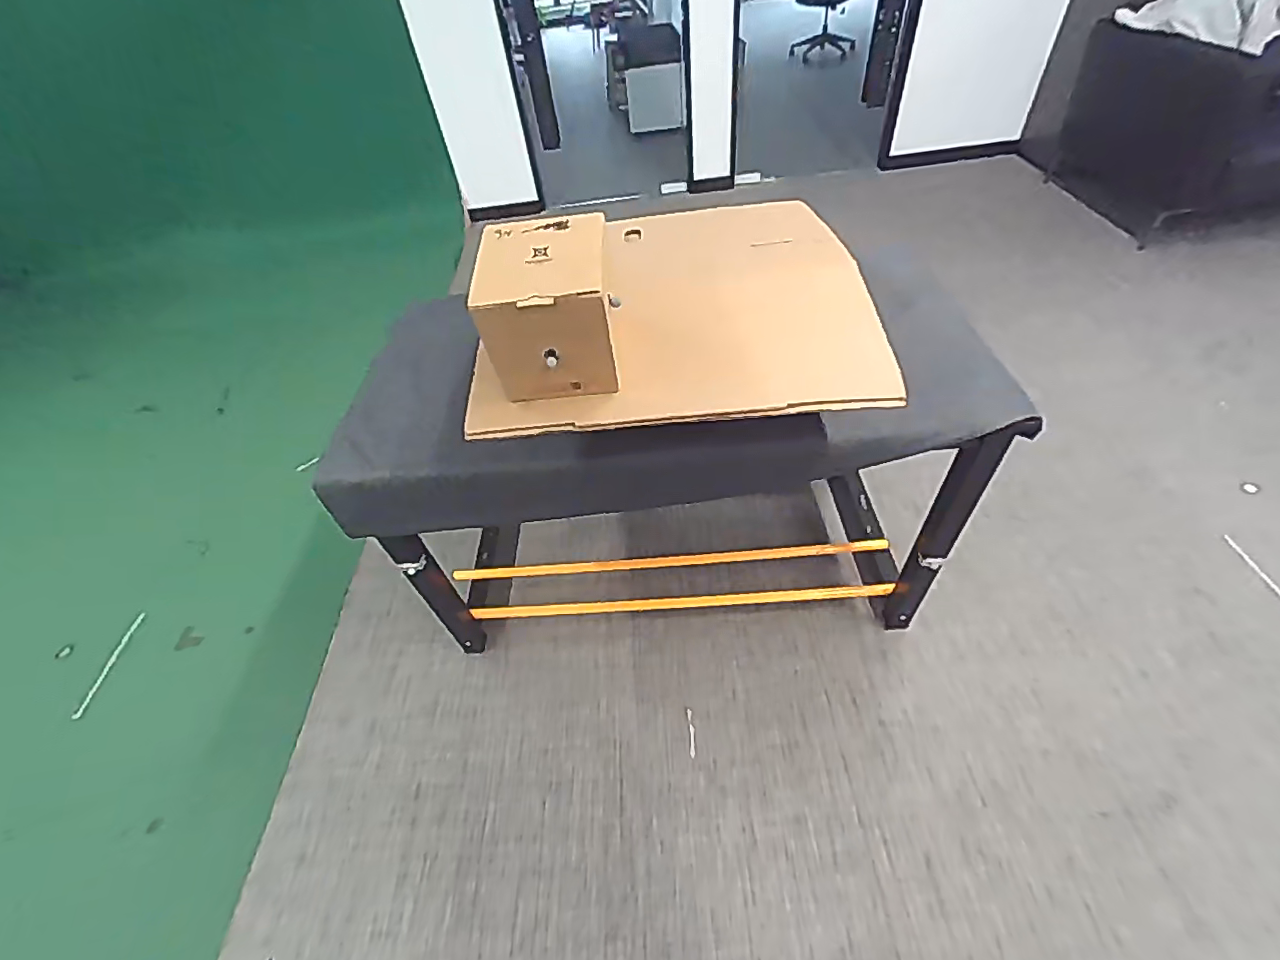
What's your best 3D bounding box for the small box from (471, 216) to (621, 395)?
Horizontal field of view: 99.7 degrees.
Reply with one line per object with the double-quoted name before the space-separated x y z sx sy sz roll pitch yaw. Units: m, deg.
"small box" -0.118 -0.233 0.756 0.168 0.176 0.179 -5 56 3
